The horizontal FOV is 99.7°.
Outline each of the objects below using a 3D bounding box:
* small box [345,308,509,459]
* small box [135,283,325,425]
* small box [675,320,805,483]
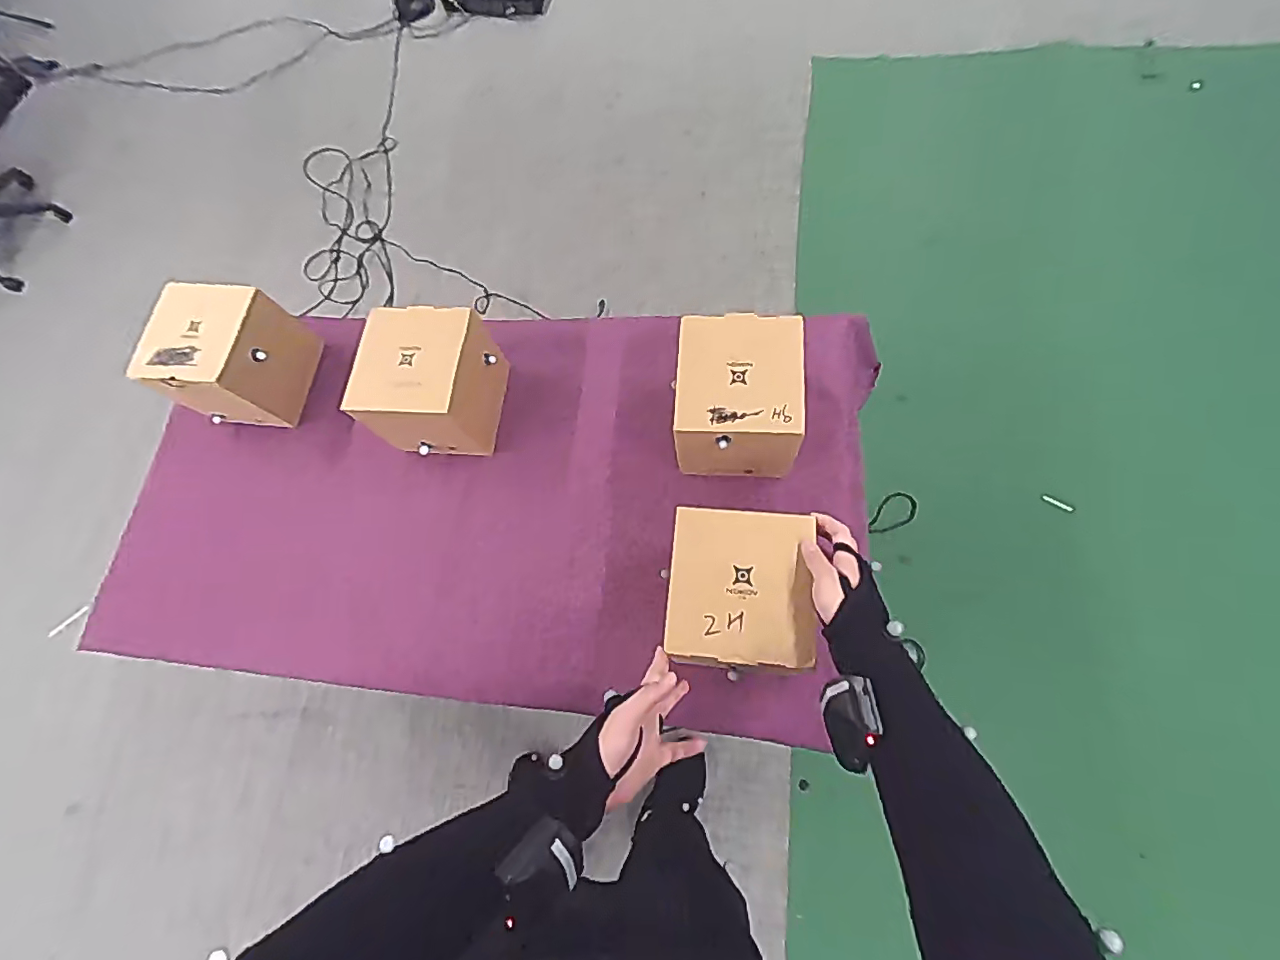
[{"bbox_3d":[-0.323,-0.149,0.860,0.168,0.176,0.179,4,71,9],"label":"small box"},{"bbox_3d":[-0.681,-0.207,0.922,0.168,0.176,0.179,6,72,9],"label":"small box"},{"bbox_3d":[0.142,-0.109,0.785,0.168,0.176,0.179,2,71,9],"label":"small box"}]
